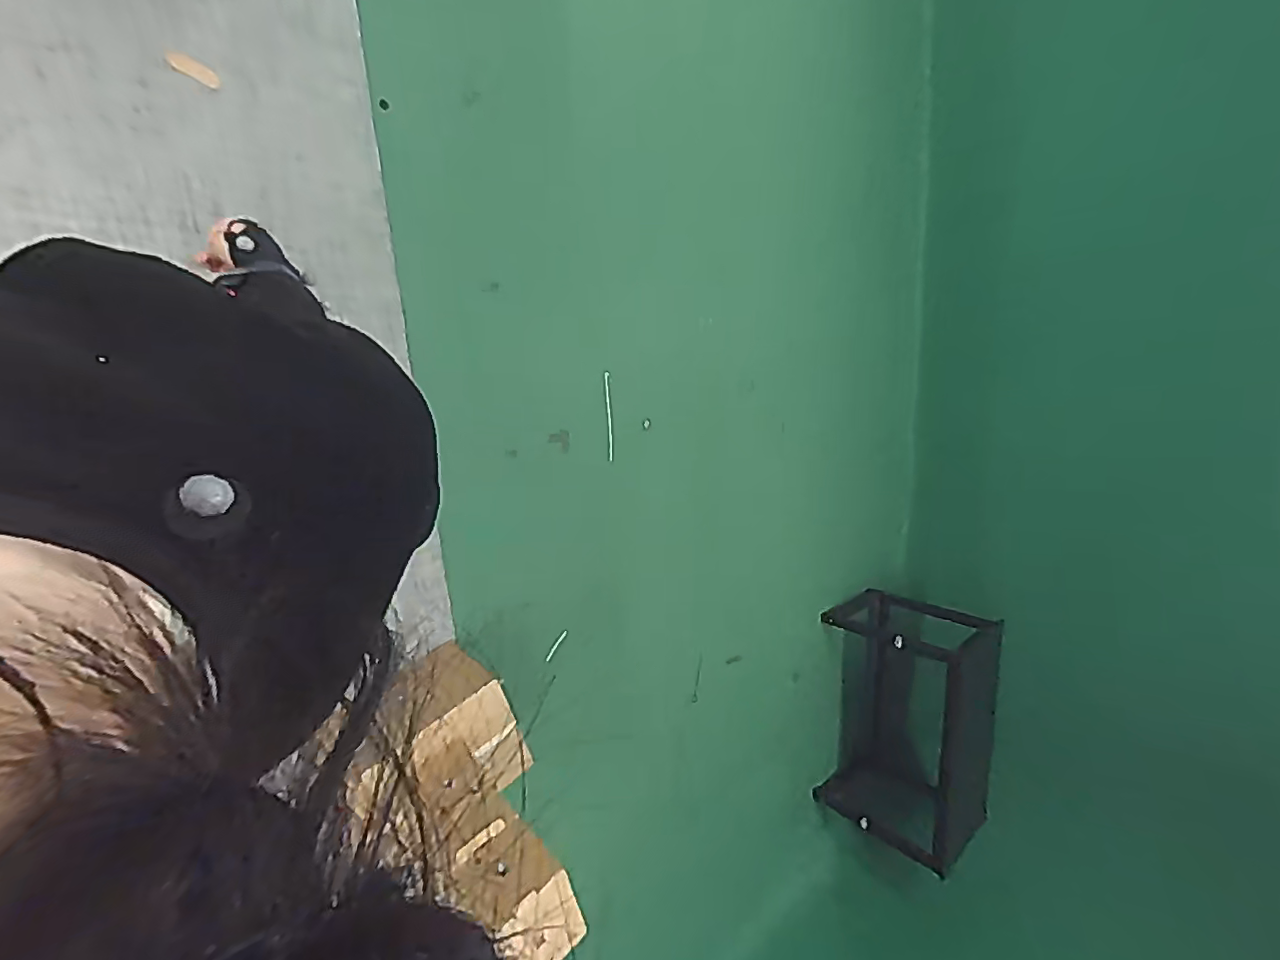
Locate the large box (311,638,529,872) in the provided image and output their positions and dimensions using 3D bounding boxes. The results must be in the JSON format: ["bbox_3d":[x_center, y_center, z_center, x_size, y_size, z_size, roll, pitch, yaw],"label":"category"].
[{"bbox_3d":[-0.585,0.705,1.459,0.408,0.320,0.320,-31,117,-35],"label":"large box"}]

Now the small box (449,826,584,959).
[{"bbox_3d":[-0.234,0.795,1.014,0.168,0.176,0.179,-26,111,-35],"label":"small box"}]

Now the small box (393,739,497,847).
[{"bbox_3d":[-0.445,0.748,1.261,0.179,0.176,0.168,-26,112,-35],"label":"small box"}]

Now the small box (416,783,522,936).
[{"bbox_3d":[-0.345,0.775,1.134,0.168,0.176,0.179,-24,111,-36],"label":"small box"}]
